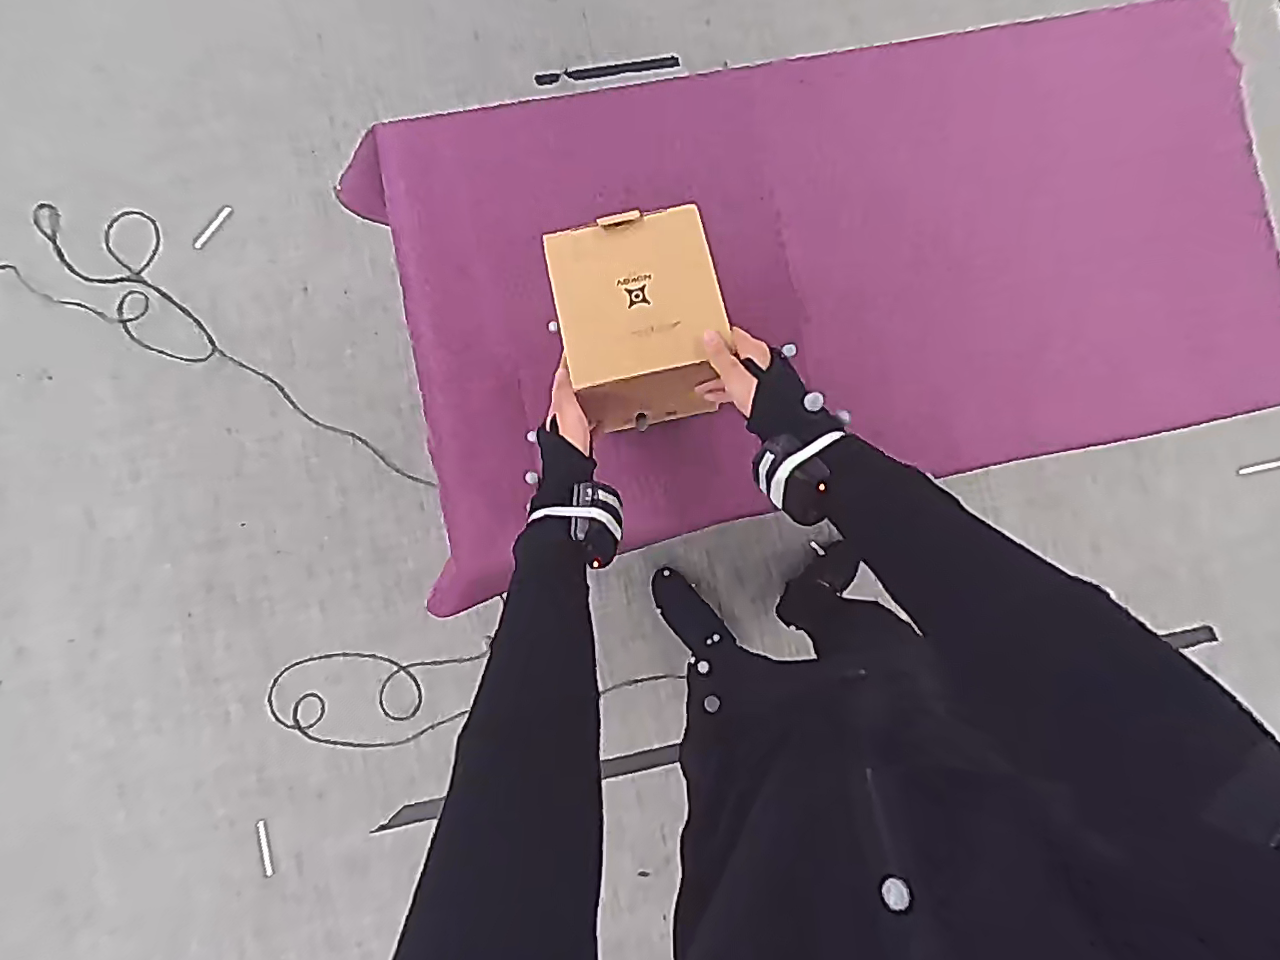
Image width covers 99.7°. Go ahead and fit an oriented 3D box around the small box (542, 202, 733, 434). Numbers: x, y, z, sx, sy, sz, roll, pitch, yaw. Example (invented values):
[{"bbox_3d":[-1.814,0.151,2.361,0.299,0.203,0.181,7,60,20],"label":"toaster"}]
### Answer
[{"bbox_3d":[-0.005,-0.170,0.608,0.168,0.176,0.179,-12,78,-1],"label":"small box"}]
